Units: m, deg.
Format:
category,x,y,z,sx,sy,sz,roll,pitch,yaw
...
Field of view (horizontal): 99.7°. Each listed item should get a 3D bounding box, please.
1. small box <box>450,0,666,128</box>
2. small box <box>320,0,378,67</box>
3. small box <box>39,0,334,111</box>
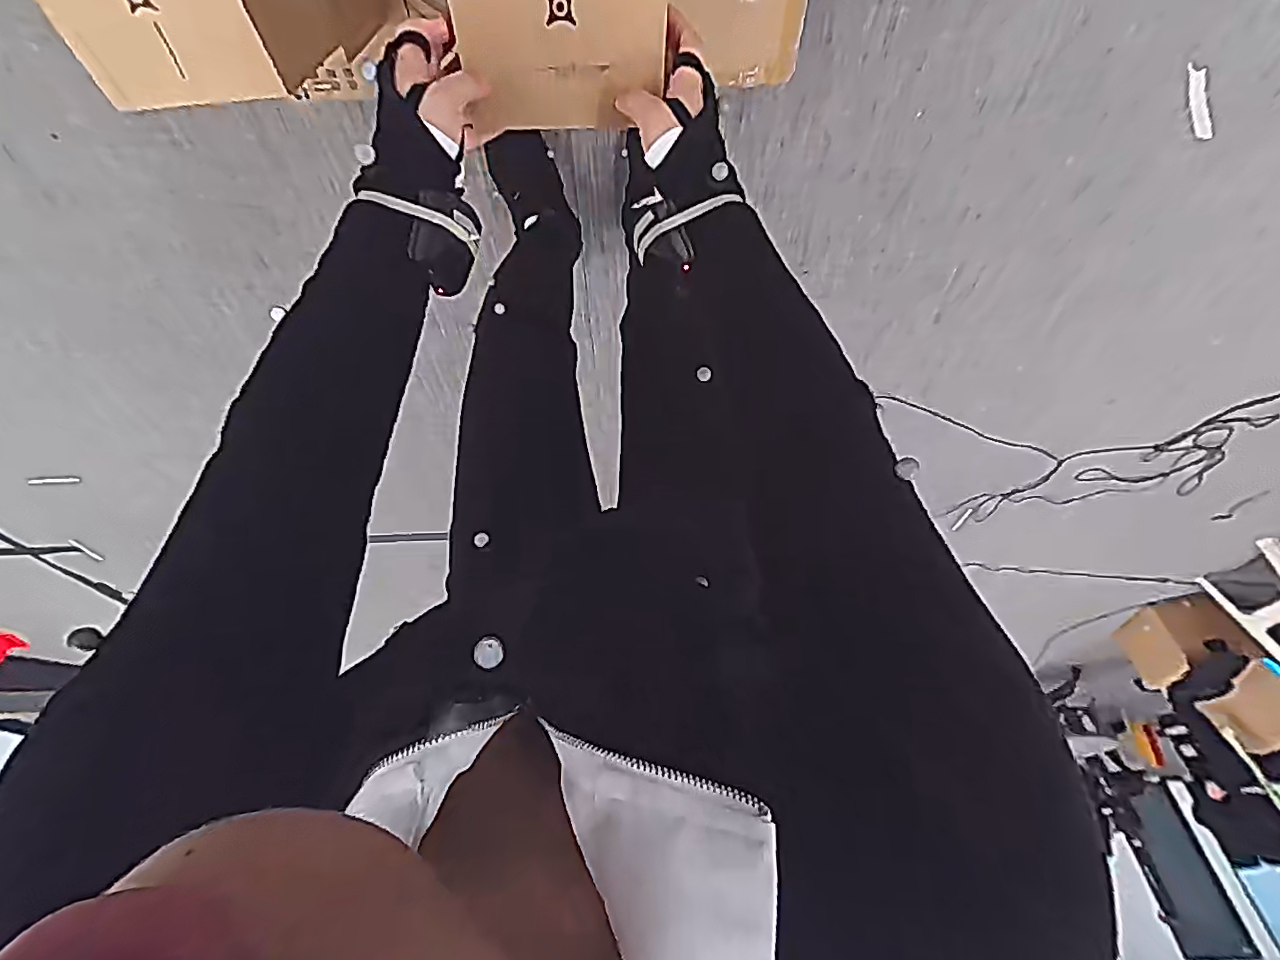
category,x,y,z,sx,sy,sz,roll,pitch,yaw
small box,-0.068,-0.427,0.451,0.168,0.176,0.179,-3,146,-3
small box,-0.418,-0.584,0.597,0.168,0.176,0.179,-3,142,-1
small box,-0.413,-0.465,0.484,0.168,0.176,0.179,-4,143,0
